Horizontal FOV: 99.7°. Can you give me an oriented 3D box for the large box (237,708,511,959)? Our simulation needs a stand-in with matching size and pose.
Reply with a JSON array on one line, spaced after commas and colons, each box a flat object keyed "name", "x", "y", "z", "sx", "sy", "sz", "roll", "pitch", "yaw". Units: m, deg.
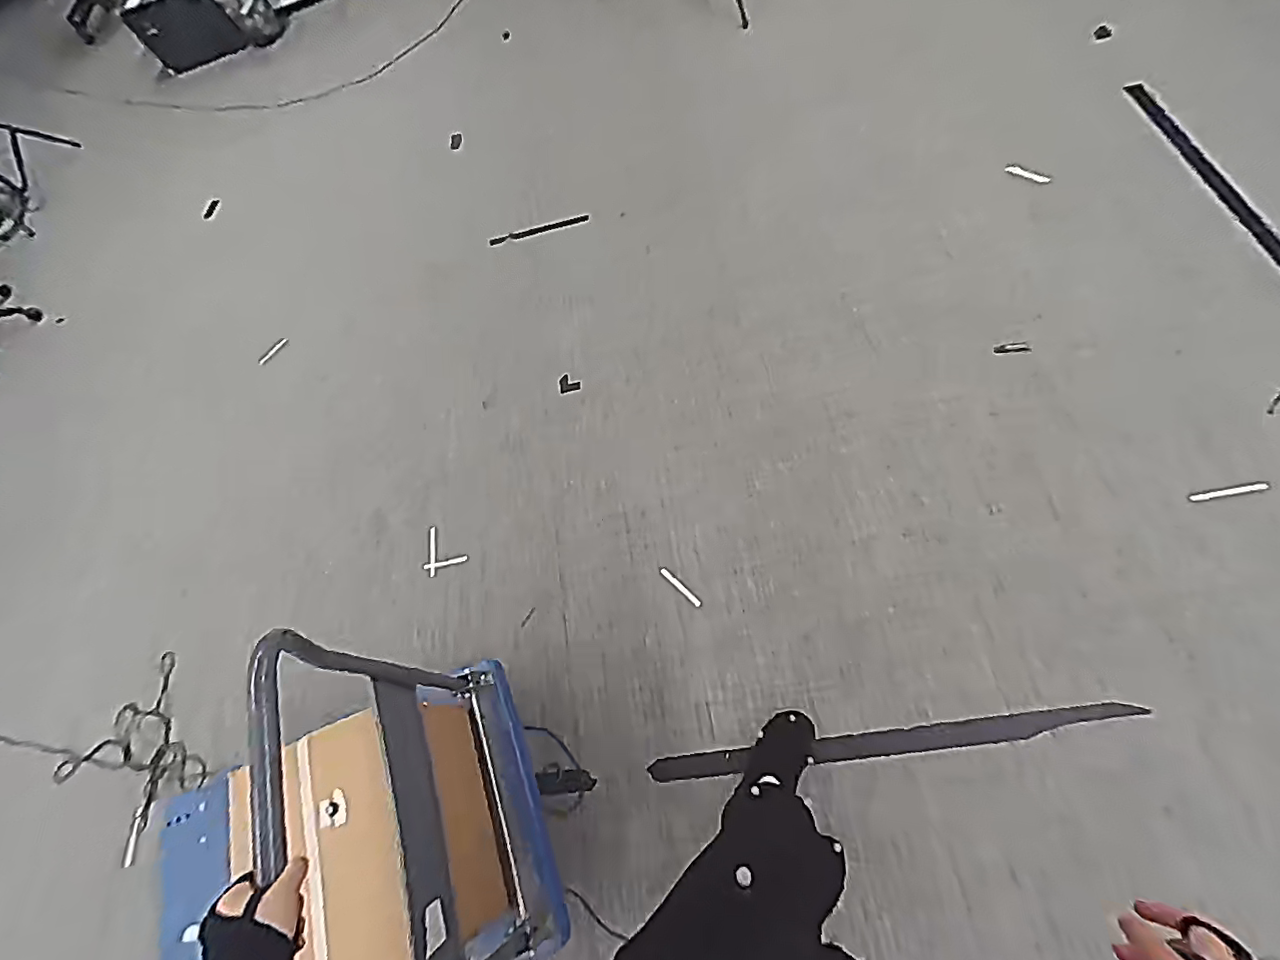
[{"name": "large box", "x": -0.488, "y": 0.694, "z": 1.018, "sx": 0.320, "sy": 0.320, "sz": 0.408, "roll": -25, "pitch": 62, "yaw": 0}]
